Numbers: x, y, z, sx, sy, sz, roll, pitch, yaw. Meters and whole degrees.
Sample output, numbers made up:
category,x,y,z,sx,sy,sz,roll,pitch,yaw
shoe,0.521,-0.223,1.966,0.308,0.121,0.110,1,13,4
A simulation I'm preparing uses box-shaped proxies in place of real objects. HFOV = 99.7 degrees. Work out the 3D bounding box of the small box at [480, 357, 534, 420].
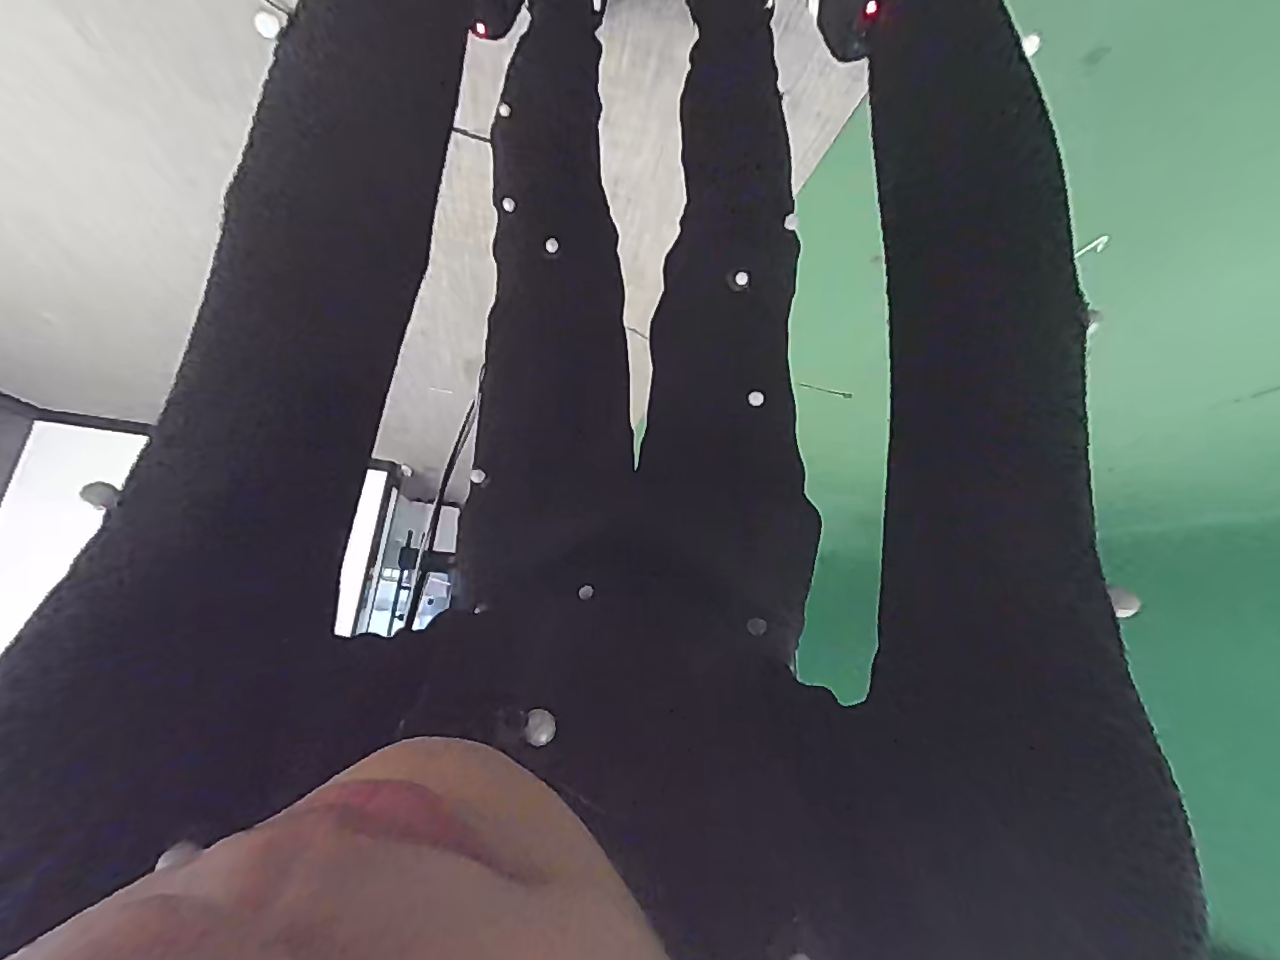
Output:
category,x,y,z,sx,sy,sz,roll,pitch,yaw
small box,-0.506,-0.348,2.059,0.168,0.176,0.179,12,165,-17
